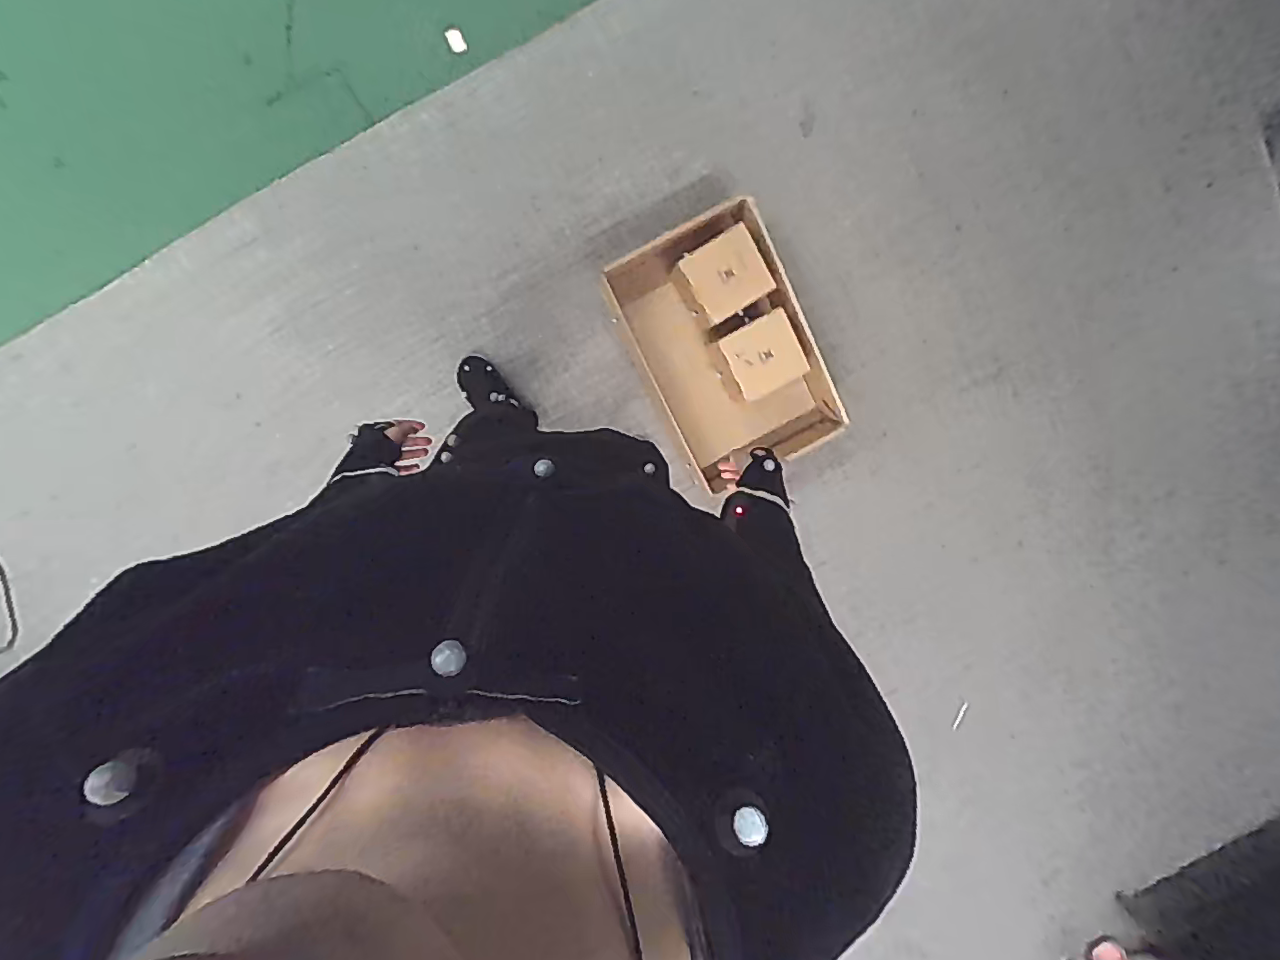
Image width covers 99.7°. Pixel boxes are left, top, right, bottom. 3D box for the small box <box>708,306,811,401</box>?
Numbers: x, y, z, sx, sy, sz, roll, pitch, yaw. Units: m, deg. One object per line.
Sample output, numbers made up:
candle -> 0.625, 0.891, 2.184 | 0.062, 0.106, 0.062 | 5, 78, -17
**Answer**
small box -> 0.291, -0.312, 1.348 | 0.179, 0.176, 0.168 | -27, 101, 2
